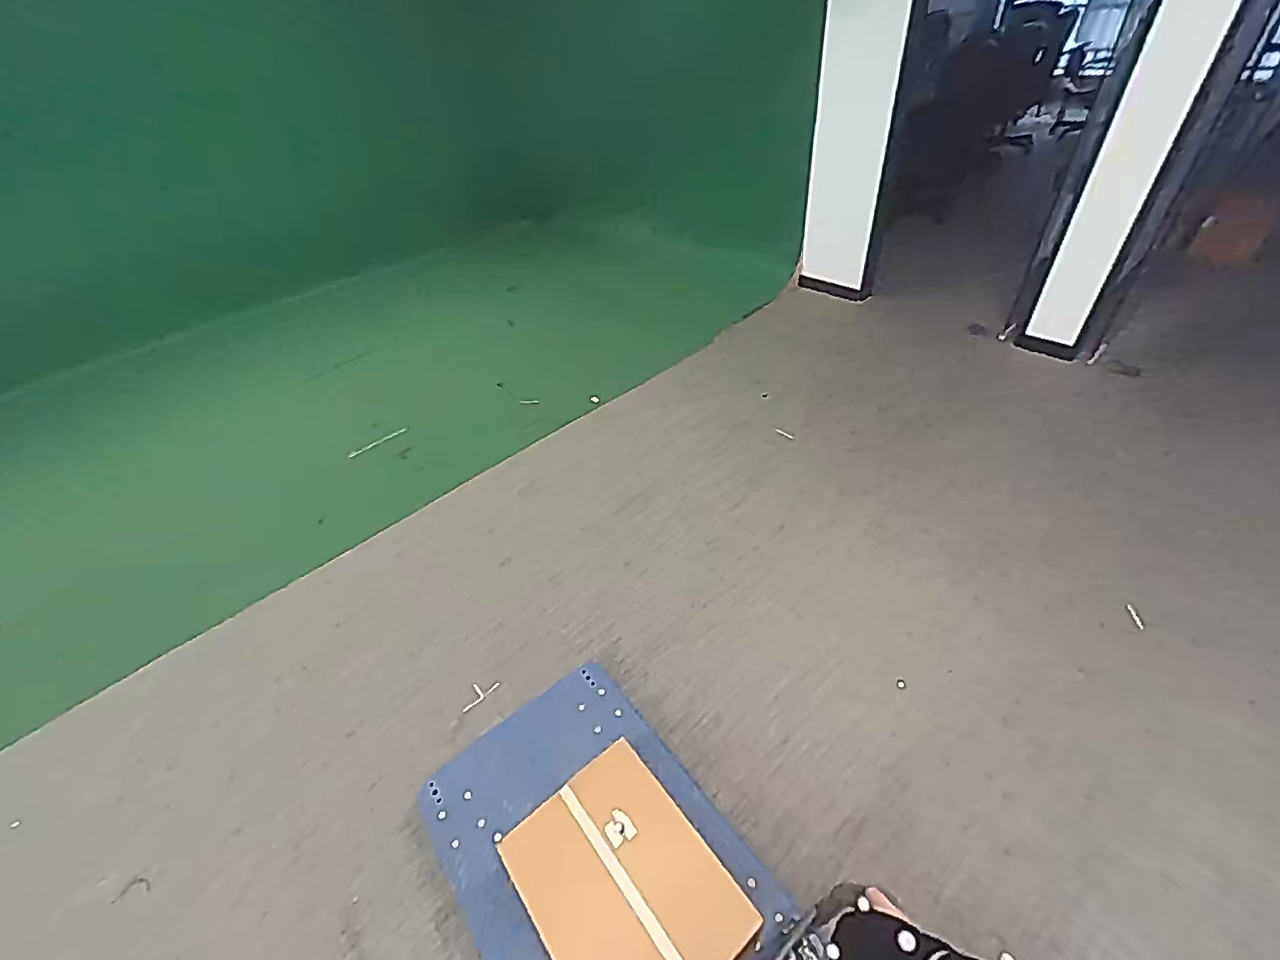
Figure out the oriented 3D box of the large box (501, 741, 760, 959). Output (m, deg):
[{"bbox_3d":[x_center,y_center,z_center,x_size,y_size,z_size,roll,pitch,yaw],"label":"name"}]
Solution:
[{"bbox_3d":[-0.013,0.837,1.084,0.320,0.320,0.408,-31,46,-24],"label":"large box"}]
